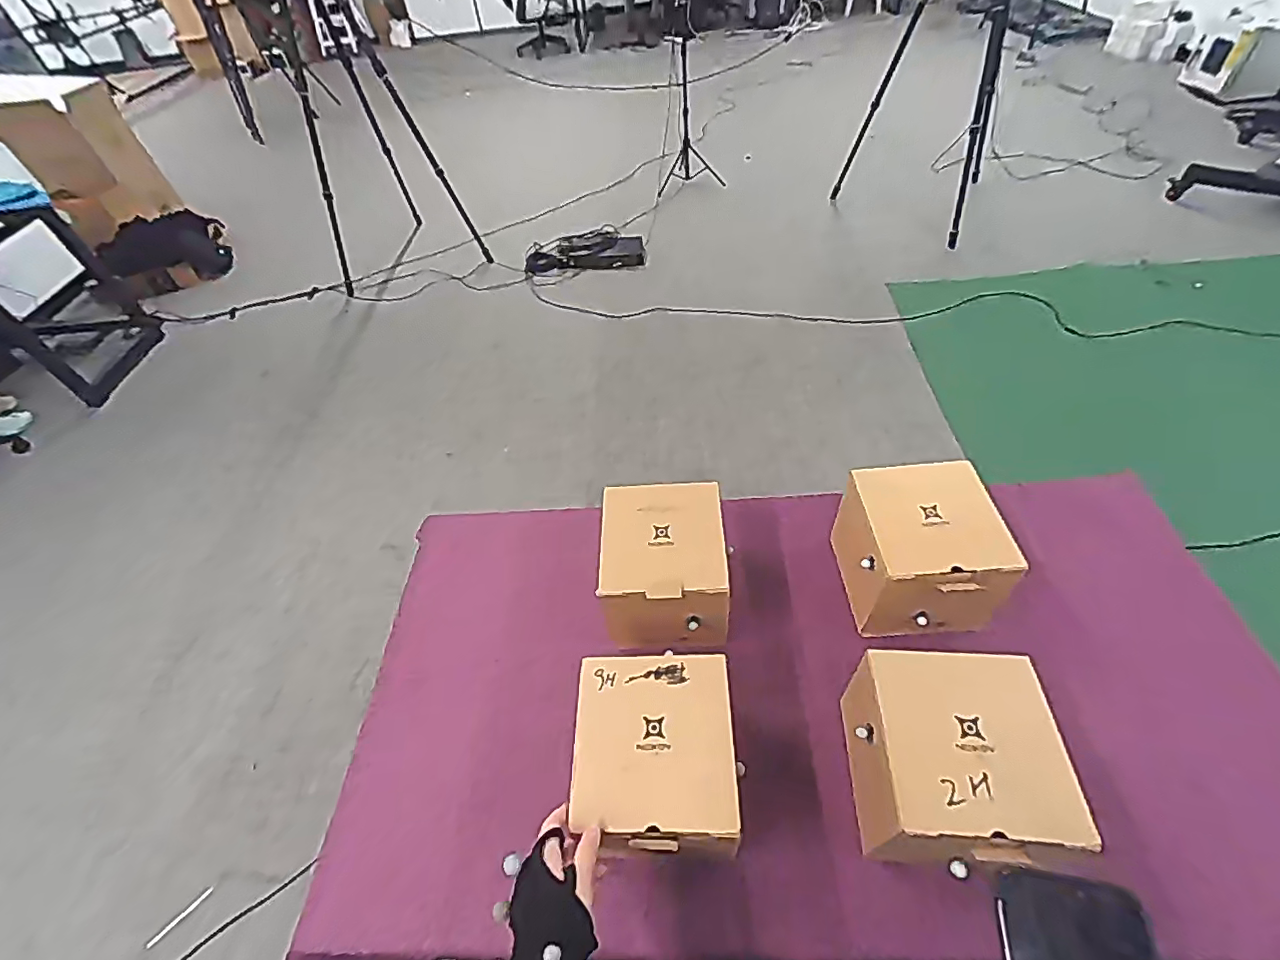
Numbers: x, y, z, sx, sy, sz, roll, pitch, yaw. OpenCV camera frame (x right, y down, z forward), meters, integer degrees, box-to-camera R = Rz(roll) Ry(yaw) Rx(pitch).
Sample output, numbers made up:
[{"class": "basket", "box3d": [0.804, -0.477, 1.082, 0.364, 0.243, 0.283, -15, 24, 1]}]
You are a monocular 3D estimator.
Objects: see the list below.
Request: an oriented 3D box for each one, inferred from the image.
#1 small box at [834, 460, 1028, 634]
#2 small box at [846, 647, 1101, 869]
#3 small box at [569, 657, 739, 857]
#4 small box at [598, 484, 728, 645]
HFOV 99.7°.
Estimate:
[{"class": "small box", "box3d": [0.385, 0.096, 0.760, 0.168, 0.176, 0.179, -6, 50, 3]}, {"class": "small box", "box3d": [0.332, 0.302, 0.589, 0.168, 0.176, 0.179, -1, 50, 8]}, {"class": "small box", "box3d": [0.023, 0.320, 0.618, 0.168, 0.176, 0.179, -3, 50, 5]}, {"class": "small box", "box3d": [0.037, 0.128, 0.781, 0.168, 0.176, 0.179, -3, 49, 4]}]
